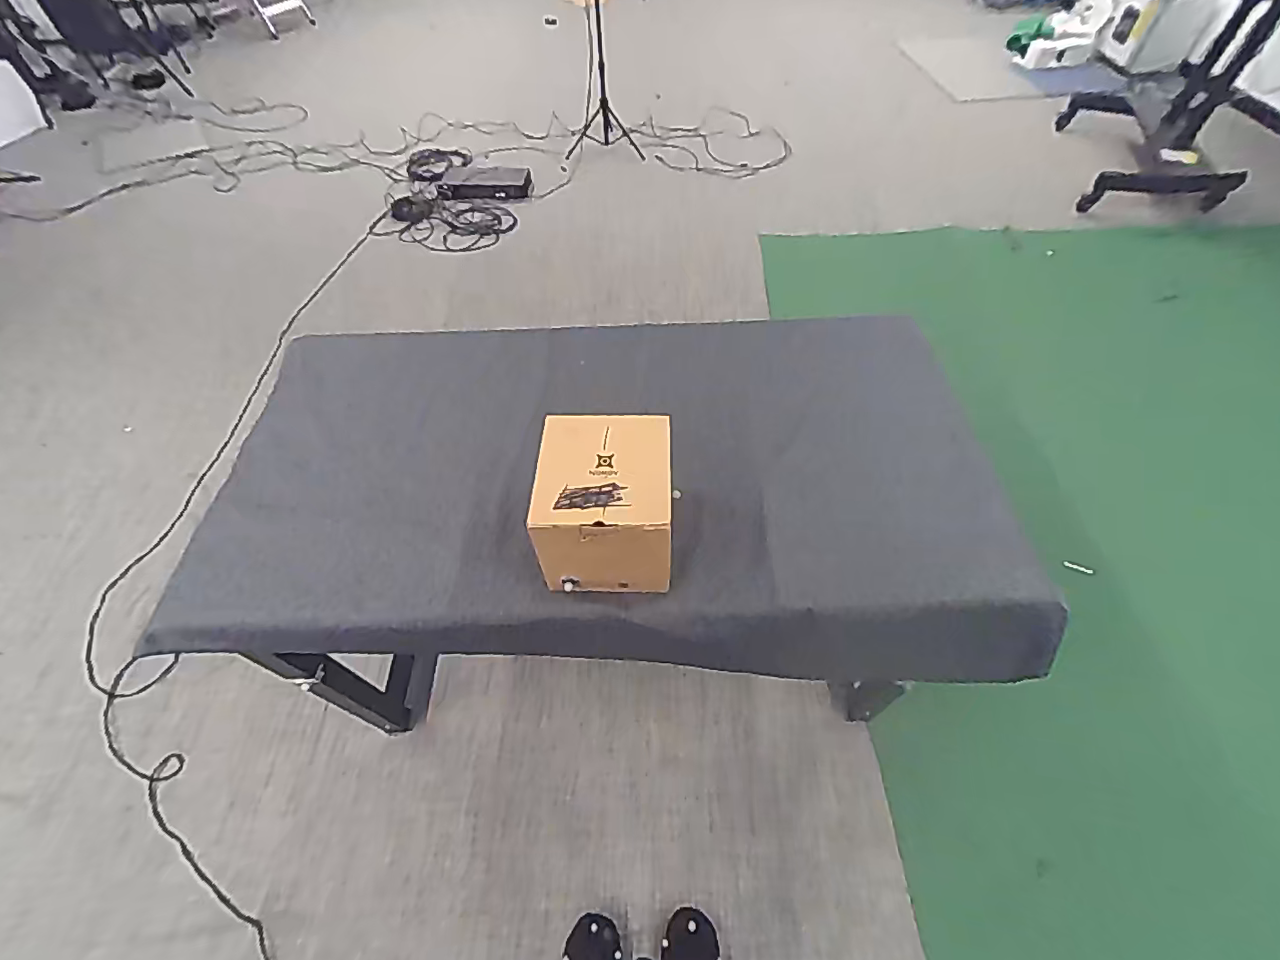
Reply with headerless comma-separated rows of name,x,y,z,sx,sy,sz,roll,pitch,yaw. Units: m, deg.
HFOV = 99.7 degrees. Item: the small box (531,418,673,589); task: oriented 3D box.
small box,-0.040,0.036,0.735,0.168,0.176,0.179,2,52,2
